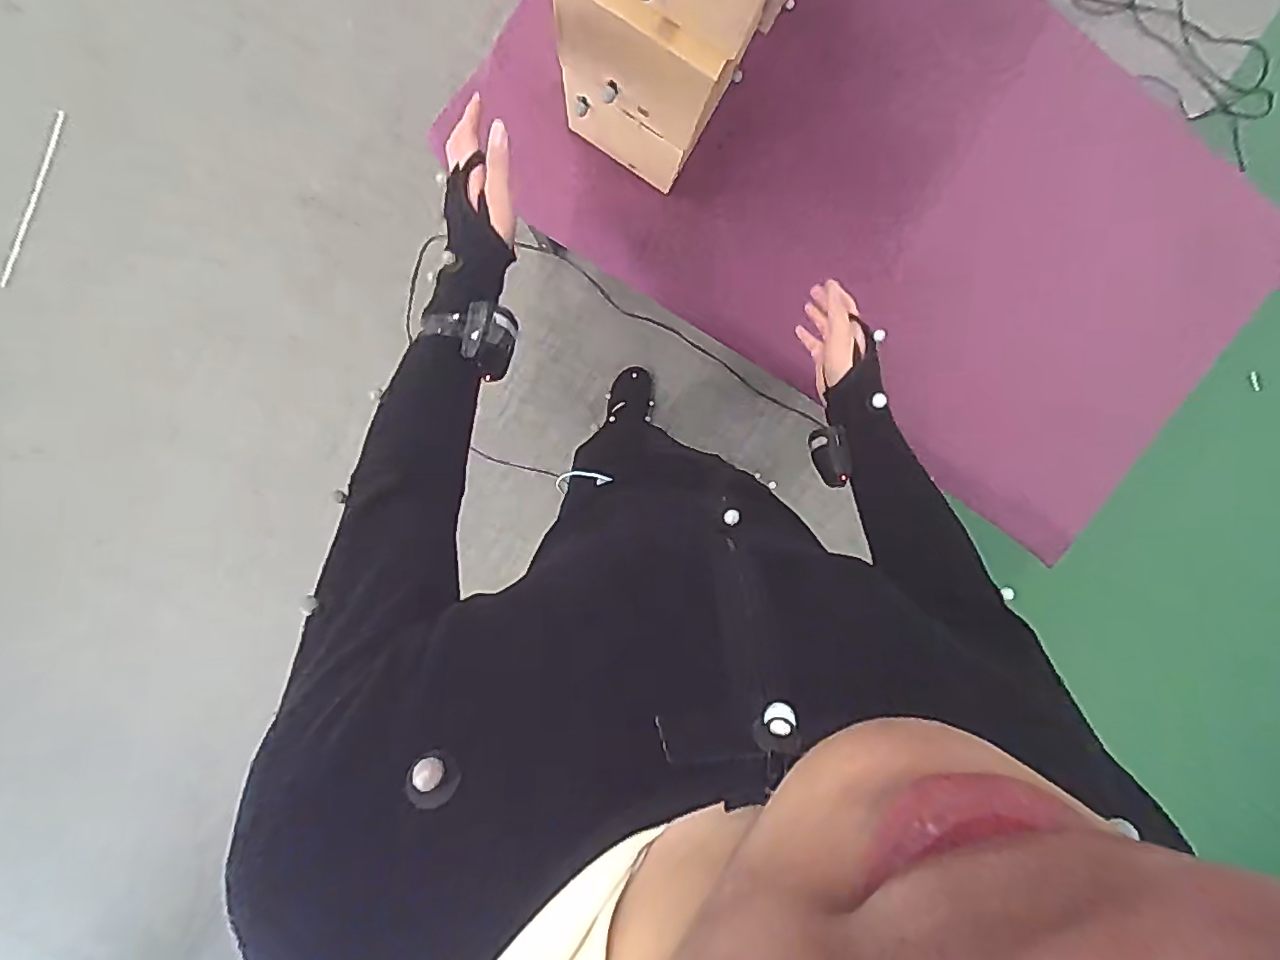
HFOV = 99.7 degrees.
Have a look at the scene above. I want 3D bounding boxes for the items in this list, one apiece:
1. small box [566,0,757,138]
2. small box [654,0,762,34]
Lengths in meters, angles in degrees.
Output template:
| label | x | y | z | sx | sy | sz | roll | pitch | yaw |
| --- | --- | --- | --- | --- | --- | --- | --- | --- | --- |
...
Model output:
| label | x | y | z | sx | sy | sz | roll | pitch | yaw |
| --- | --- | --- | --- | --- | --- | --- | --- | --- | --- |
| small box | 0.032 | -0.485 | 0.525 | 0.168 | 0.176 | 0.179 | 27 | 100 | -9 |
| small box | 0.051 | -0.459 | 0.365 | 0.179 | 0.176 | 0.168 | 25 | 99 | -9 |
